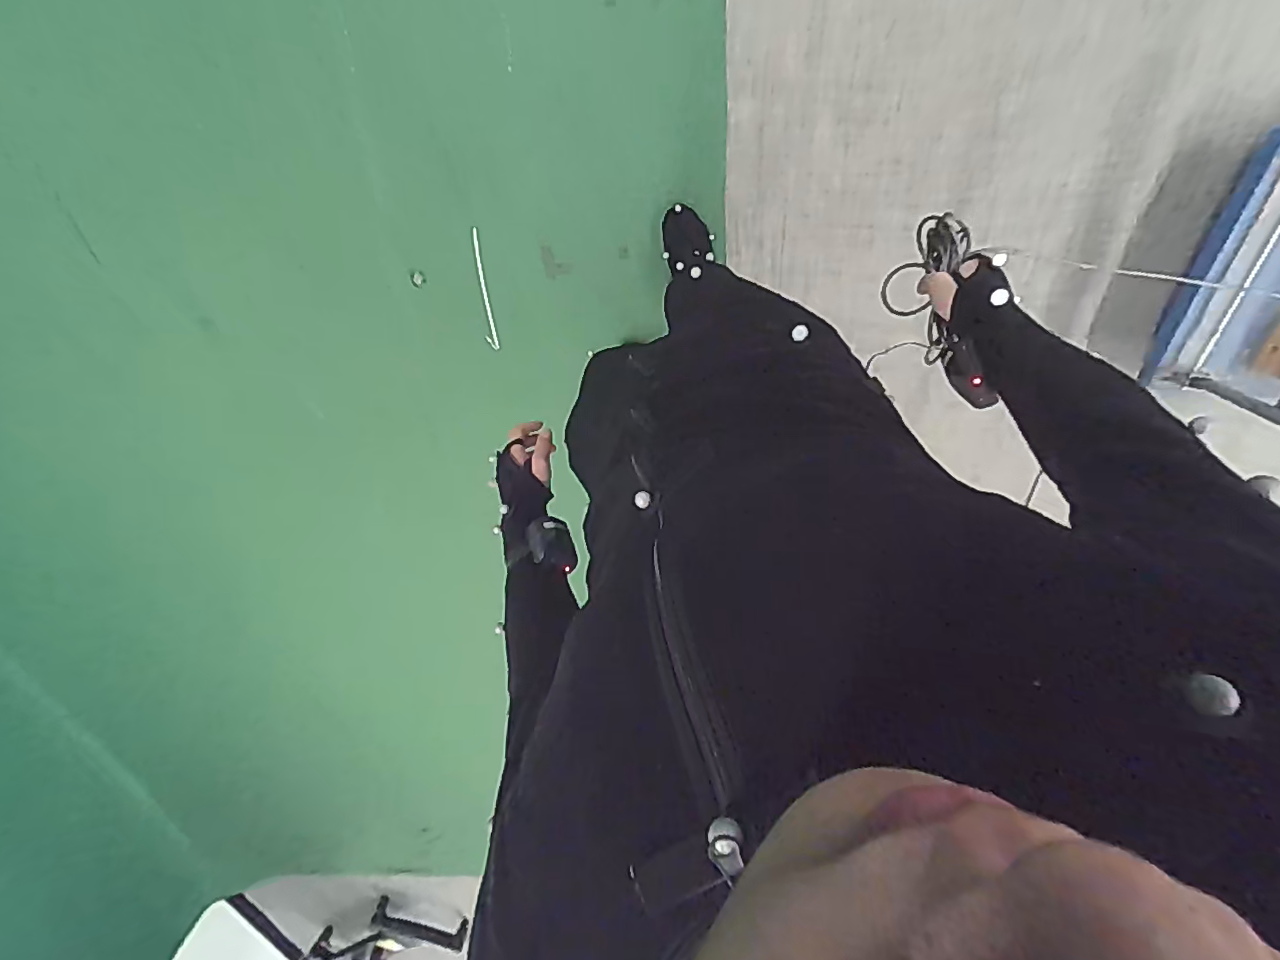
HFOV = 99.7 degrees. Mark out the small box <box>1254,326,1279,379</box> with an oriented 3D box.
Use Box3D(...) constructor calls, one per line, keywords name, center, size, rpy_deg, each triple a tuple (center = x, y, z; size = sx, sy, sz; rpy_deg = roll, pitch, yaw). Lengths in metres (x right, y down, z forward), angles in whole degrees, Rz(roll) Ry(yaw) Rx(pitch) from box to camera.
Box3D(name="small box", center=(1.594, -0.296, 1.223), size=(0.179, 0.176, 0.168), rpy_deg=(5, 121, 1))
